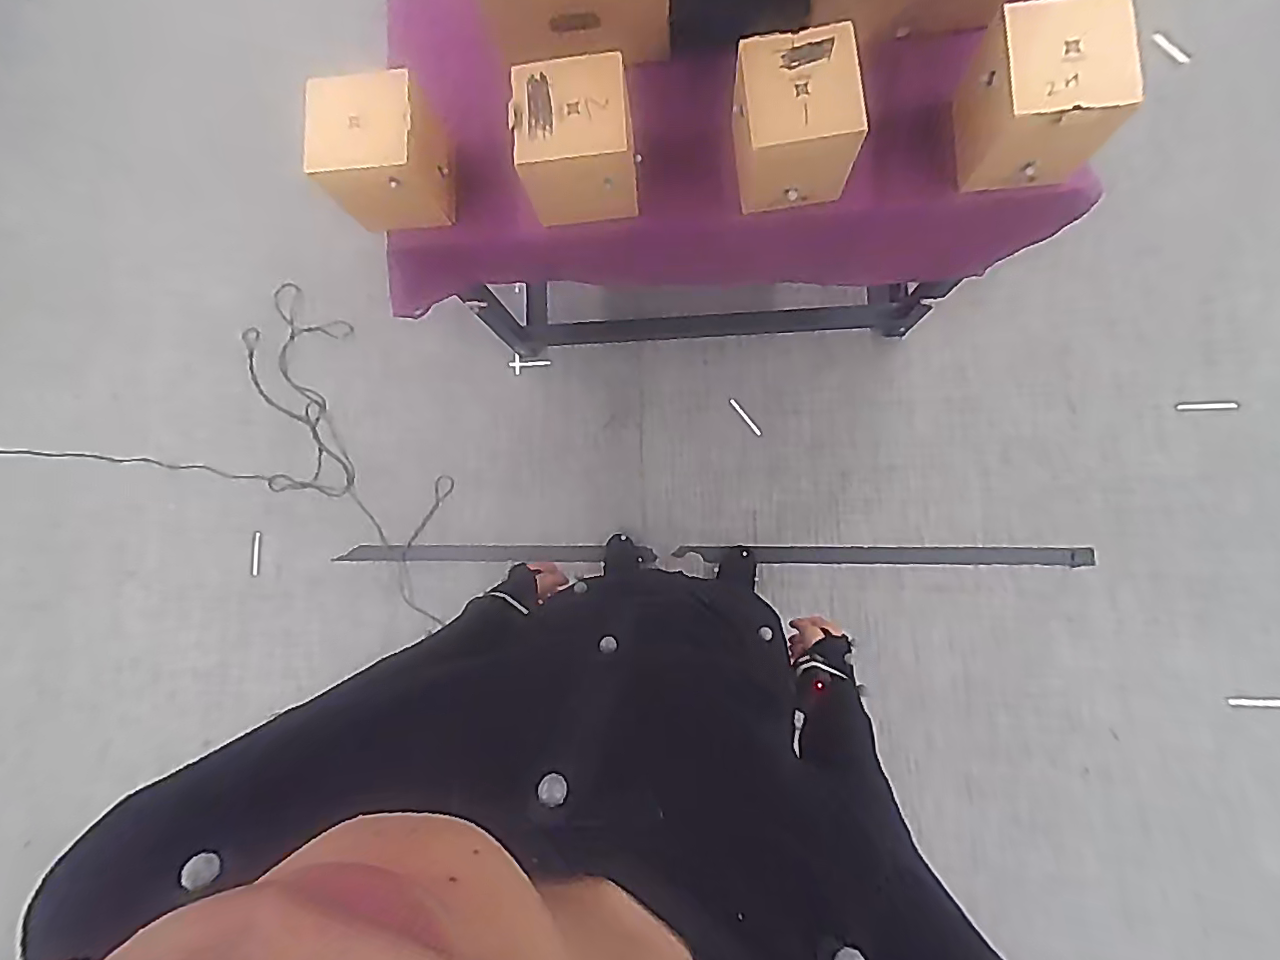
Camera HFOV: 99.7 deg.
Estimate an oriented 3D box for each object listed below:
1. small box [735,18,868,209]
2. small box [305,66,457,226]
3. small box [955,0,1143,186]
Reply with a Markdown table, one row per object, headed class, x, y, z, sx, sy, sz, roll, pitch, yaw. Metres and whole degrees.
| class | x | y | z | sx | sy | sz | roll | pitch | yaw |
| --- | --- | --- | --- | --- | --- | --- | --- | --- | --- |
| small box | 0.245 | -0.569 | 0.860 | 0.168 | 0.176 | 0.179 | -6 | 85 | 6 |
| small box | -0.436 | -0.561 | 0.931 | 0.179 | 0.176 | 0.168 | -2 | 84 | 5 |
| small box | 0.603 | -0.584 | 0.822 | 0.168 | 0.176 | 0.179 | -1 | 84 | 7 |
